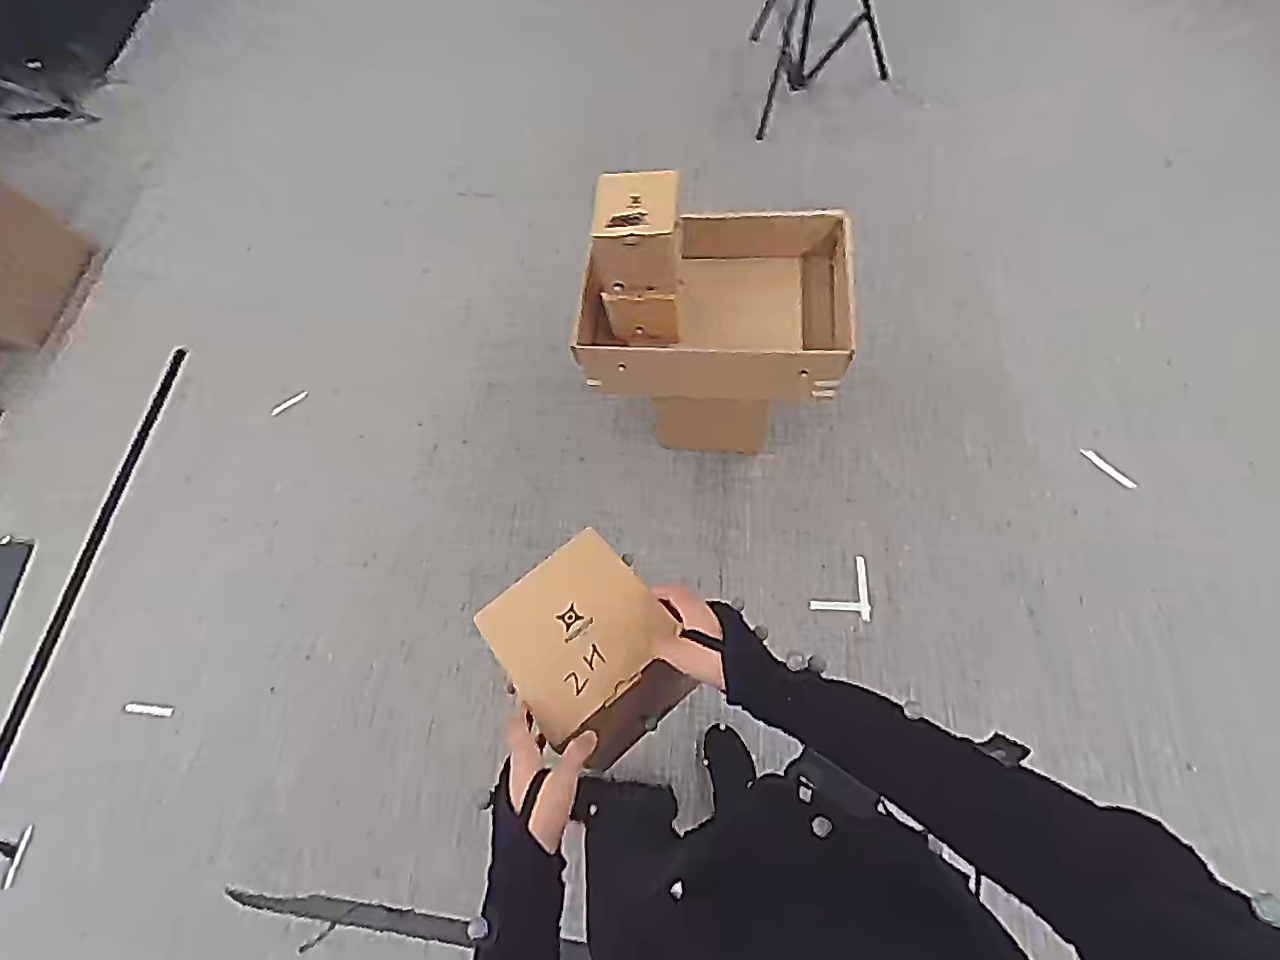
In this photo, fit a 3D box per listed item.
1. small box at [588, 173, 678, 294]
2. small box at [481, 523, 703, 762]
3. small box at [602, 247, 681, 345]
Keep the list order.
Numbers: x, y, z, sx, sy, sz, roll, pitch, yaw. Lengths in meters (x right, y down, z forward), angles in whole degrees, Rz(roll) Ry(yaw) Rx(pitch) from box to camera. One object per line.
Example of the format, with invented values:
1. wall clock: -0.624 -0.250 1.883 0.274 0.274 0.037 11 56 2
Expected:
1. small box: -0.006 -0.518 1.158 0.168 0.176 0.179 1 69 8
2. small box: -0.047 0.190 0.621 0.168 0.176 0.179 -36 56 -13
3. small box: 0.010 -0.448 1.306 0.168 0.176 0.179 1 69 8
